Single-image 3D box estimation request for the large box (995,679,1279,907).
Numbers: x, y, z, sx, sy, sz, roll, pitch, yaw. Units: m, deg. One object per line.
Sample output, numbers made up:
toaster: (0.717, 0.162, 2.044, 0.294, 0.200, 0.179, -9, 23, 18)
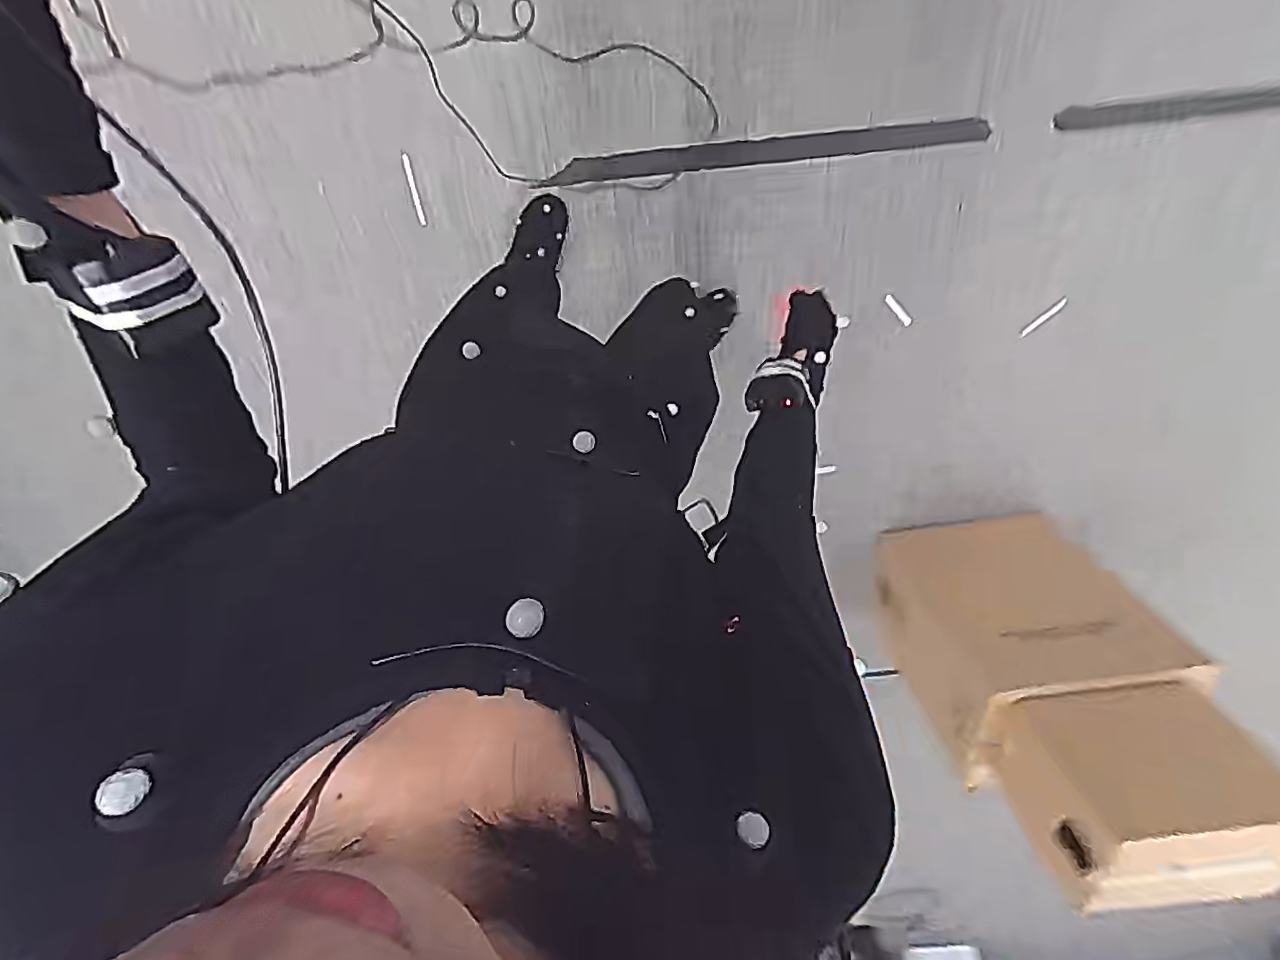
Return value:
large box: (1.105, 0.688, 1.204, 0.408, 0.320, 0.320, -9, 120, 3)
